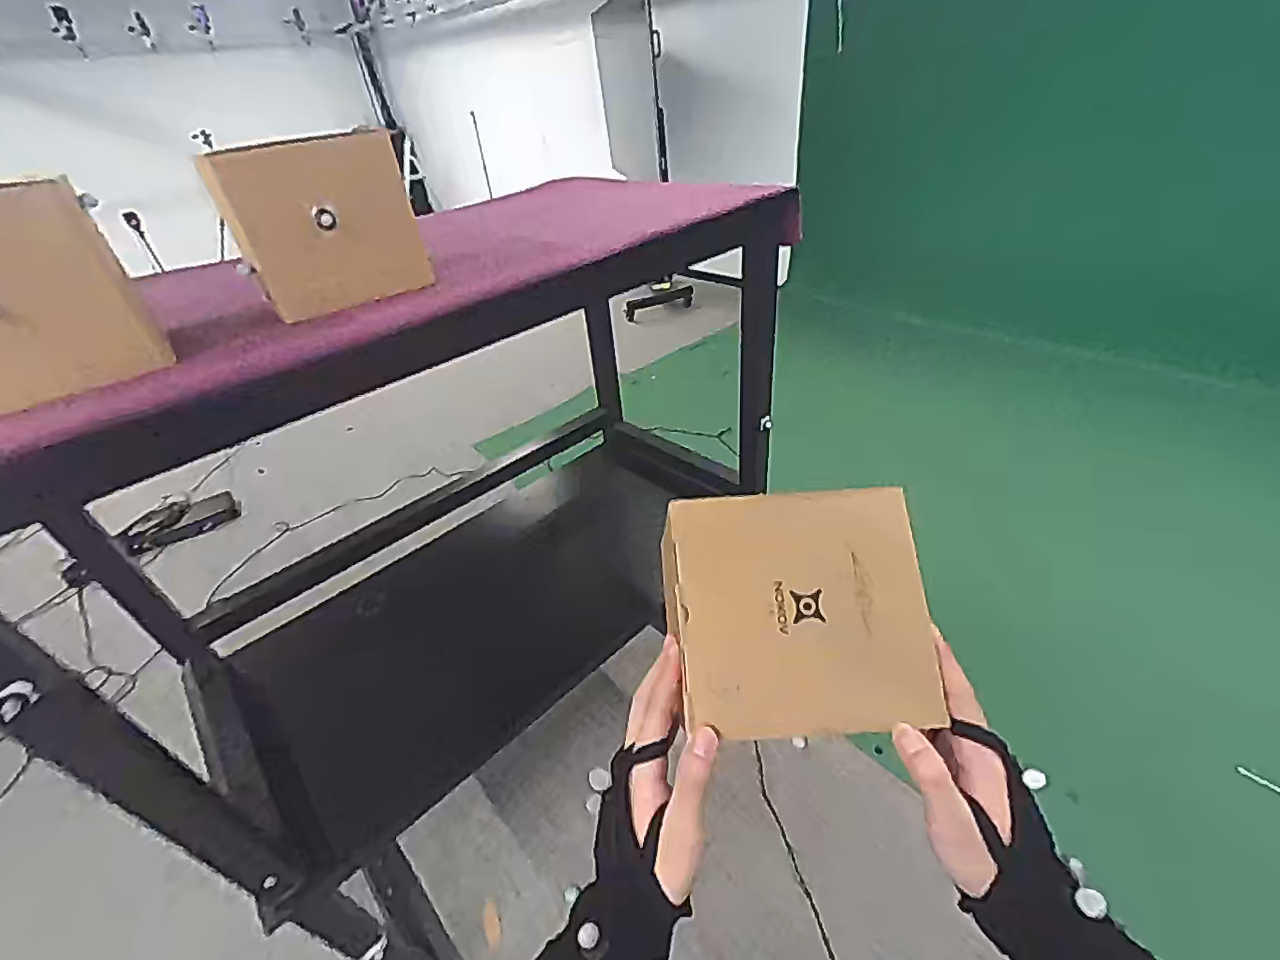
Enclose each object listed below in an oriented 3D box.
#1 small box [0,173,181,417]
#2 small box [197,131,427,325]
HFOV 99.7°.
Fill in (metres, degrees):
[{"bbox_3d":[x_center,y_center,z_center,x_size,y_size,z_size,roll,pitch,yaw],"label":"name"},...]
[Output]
[{"bbox_3d":[-0.578,-0.172,0.498,0.179,0.176,0.168,-31,43,-29],"label":"small box"},{"bbox_3d":[-0.376,-0.304,0.644,0.179,0.176,0.168,-30,41,-27],"label":"small box"}]
